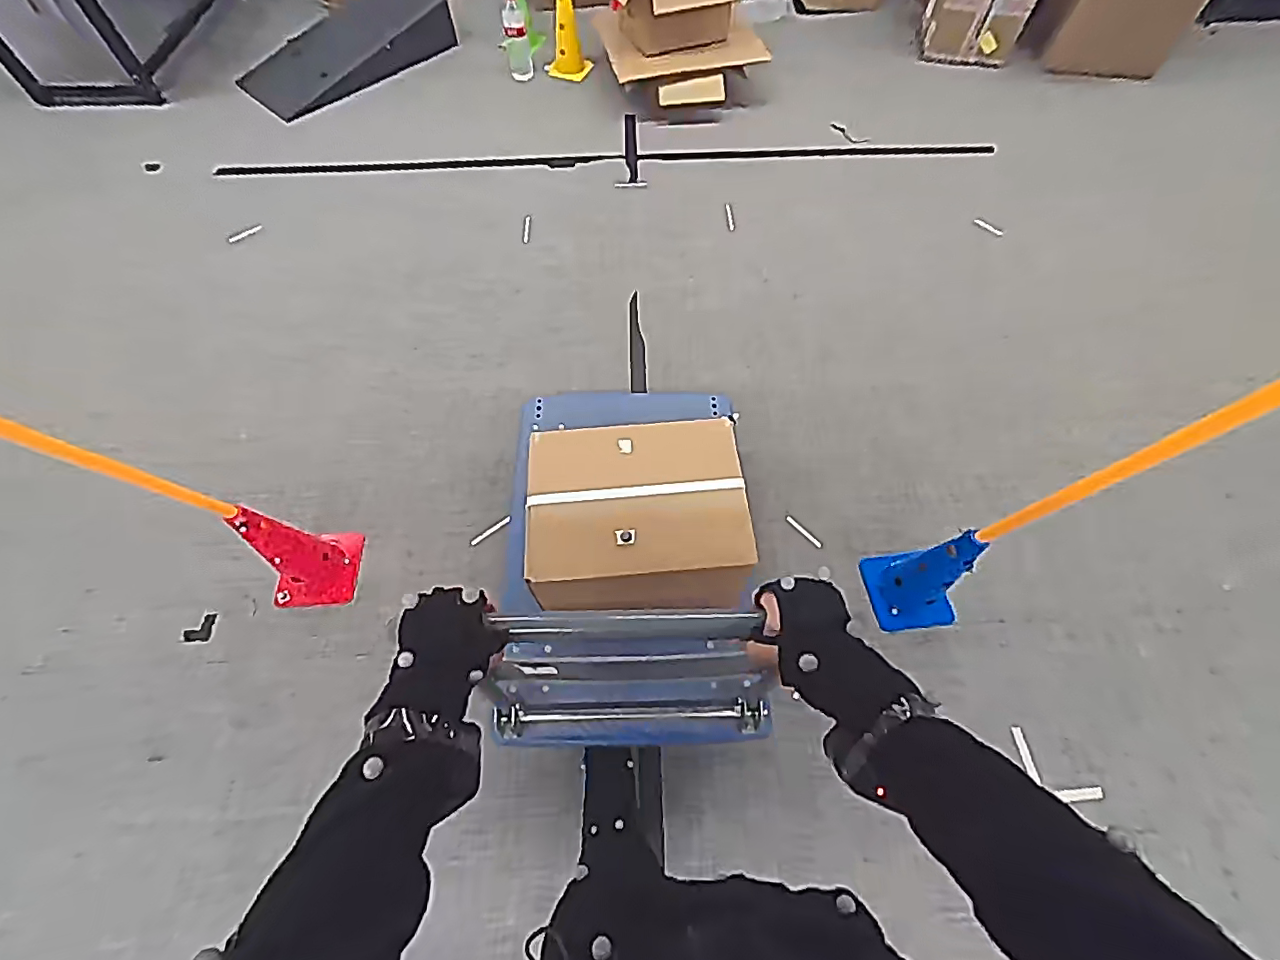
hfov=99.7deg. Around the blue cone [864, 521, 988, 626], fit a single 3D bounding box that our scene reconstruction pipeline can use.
[{"bbox_3d":[0.701,0.201,1.269,0.193,0.380,0.192,-5,60,-3],"label":"blue cone"}]
